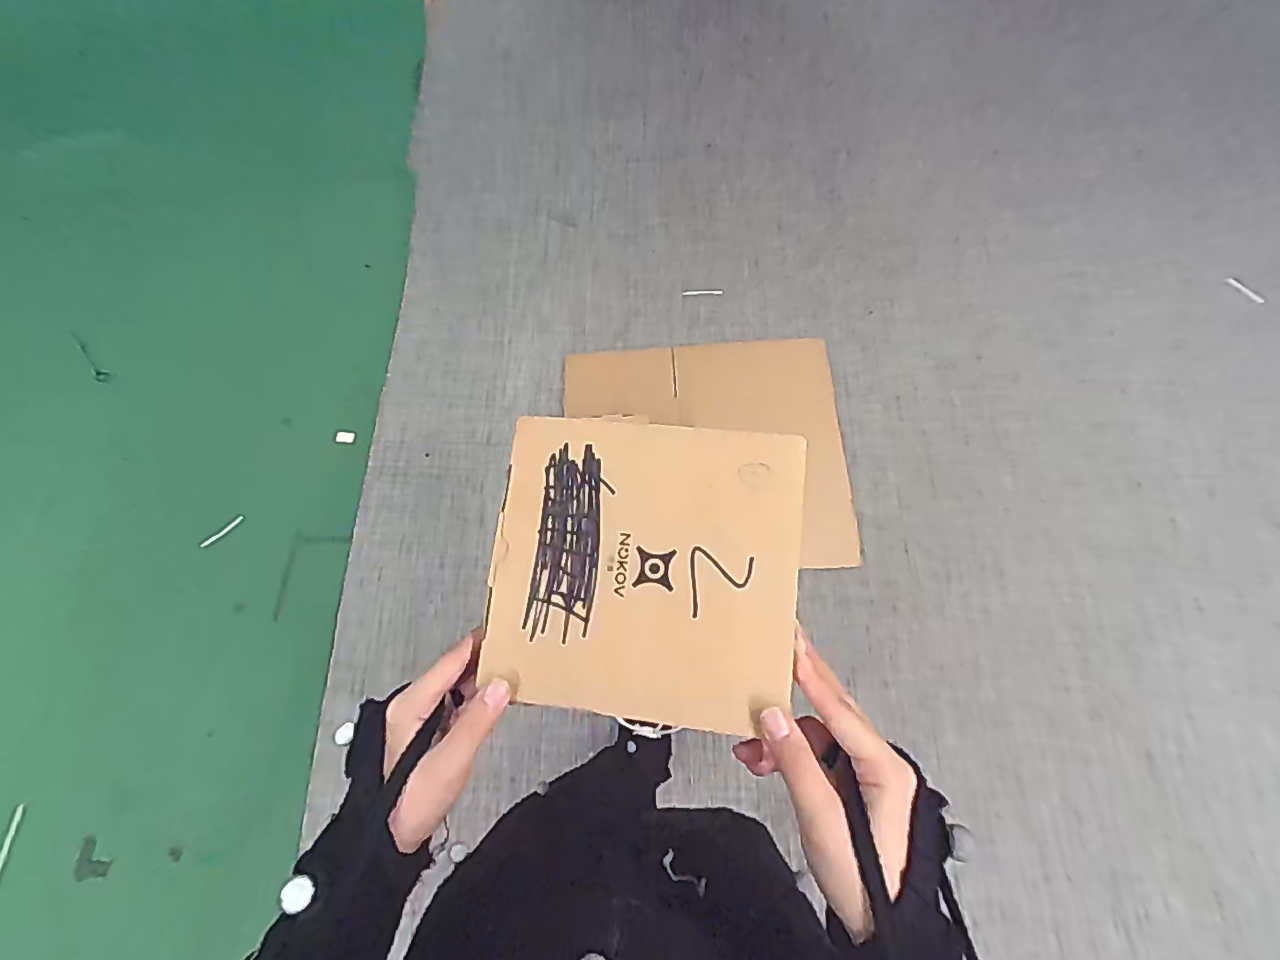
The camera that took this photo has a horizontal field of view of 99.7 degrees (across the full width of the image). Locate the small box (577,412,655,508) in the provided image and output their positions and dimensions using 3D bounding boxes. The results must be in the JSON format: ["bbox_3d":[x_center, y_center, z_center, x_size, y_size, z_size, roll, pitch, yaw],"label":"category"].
[{"bbox_3d":[-0.052,-0.042,1.257,0.168,0.176,0.179,-3,73,3],"label":"small box"}]
